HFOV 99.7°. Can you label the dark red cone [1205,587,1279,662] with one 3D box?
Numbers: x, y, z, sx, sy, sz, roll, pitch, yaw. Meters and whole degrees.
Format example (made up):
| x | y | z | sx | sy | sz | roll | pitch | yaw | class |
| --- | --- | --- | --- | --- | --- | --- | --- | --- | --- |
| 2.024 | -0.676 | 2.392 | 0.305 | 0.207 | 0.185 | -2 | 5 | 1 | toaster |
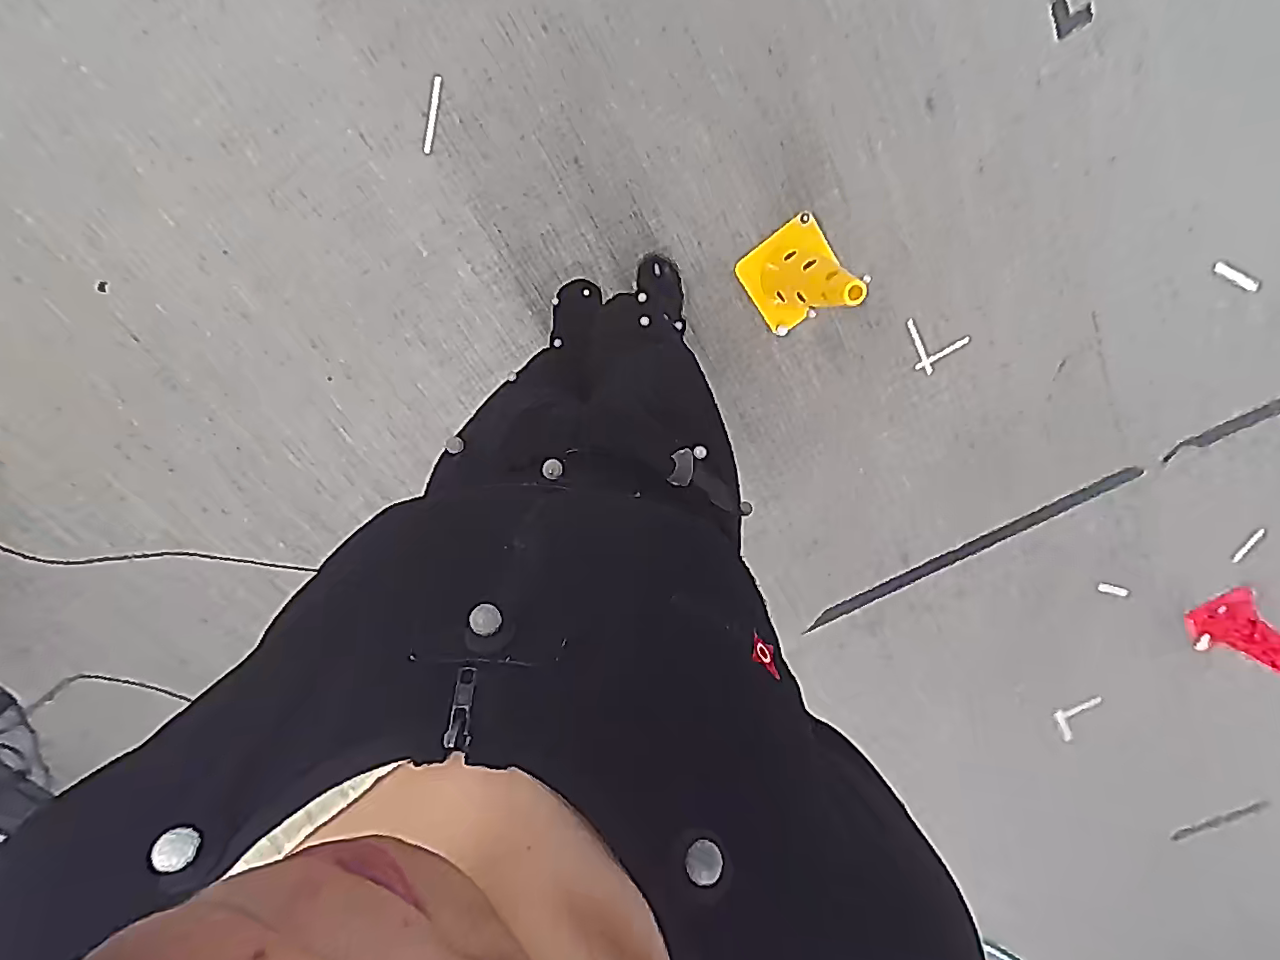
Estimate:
| x | y | z | sx | sy | sz | roll | pitch | yaw | class |
| --- | --- | --- | --- | --- | --- | --- | --- | --- | --- |
| 1.879 | 0.501 | 1.529 | 0.202 | 0.394 | 0.201 | -37 | 110 | 13 | dark red cone |
